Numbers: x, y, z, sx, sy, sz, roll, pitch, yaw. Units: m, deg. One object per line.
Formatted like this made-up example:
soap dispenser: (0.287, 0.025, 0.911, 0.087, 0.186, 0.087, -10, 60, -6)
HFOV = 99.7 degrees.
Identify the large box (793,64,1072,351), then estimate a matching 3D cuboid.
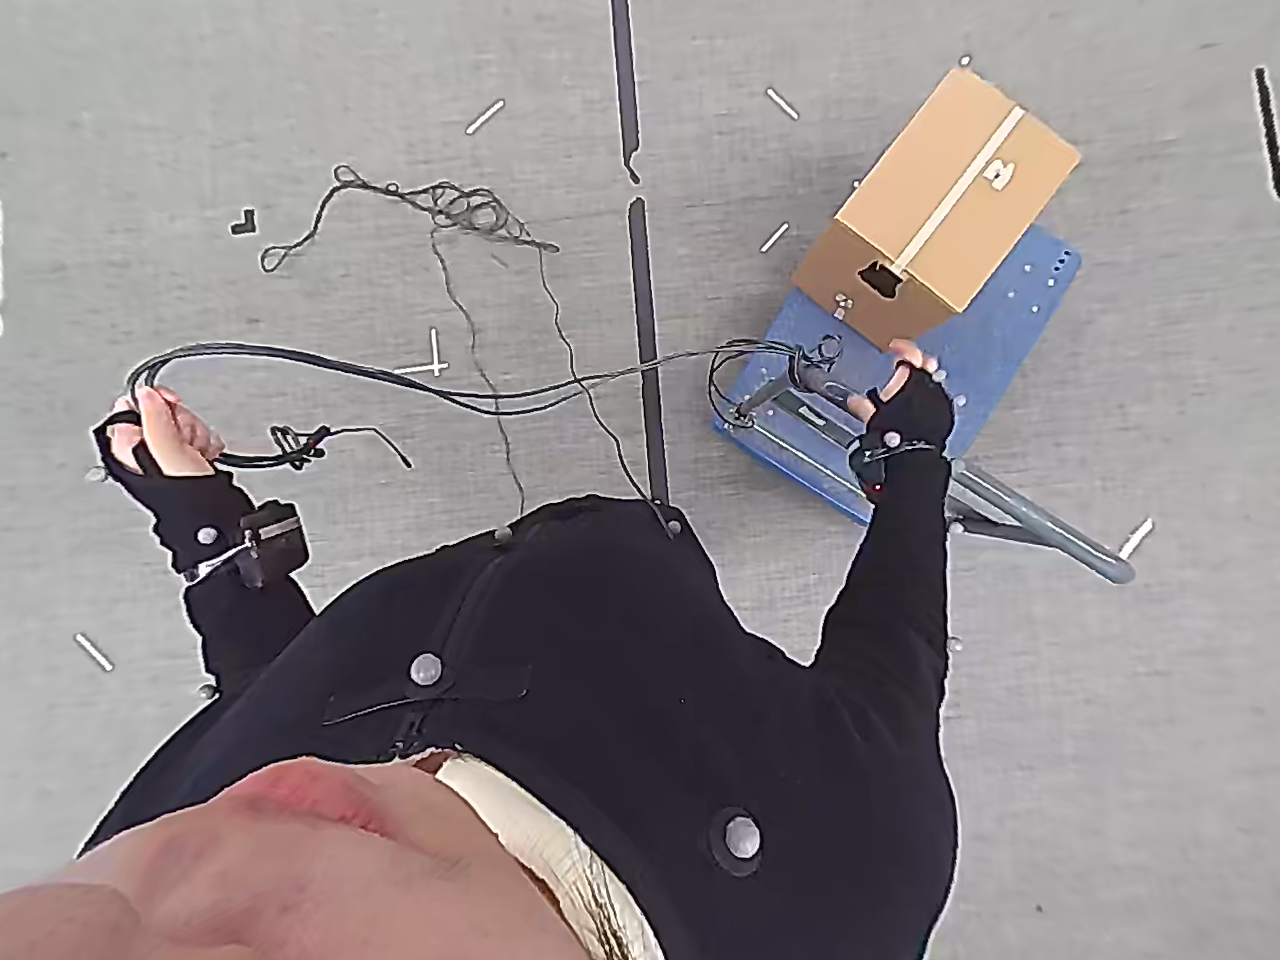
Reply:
large box: (0.613, -0.569, 1.205, 0.320, 0.320, 0.408, 38, 88, 0)
